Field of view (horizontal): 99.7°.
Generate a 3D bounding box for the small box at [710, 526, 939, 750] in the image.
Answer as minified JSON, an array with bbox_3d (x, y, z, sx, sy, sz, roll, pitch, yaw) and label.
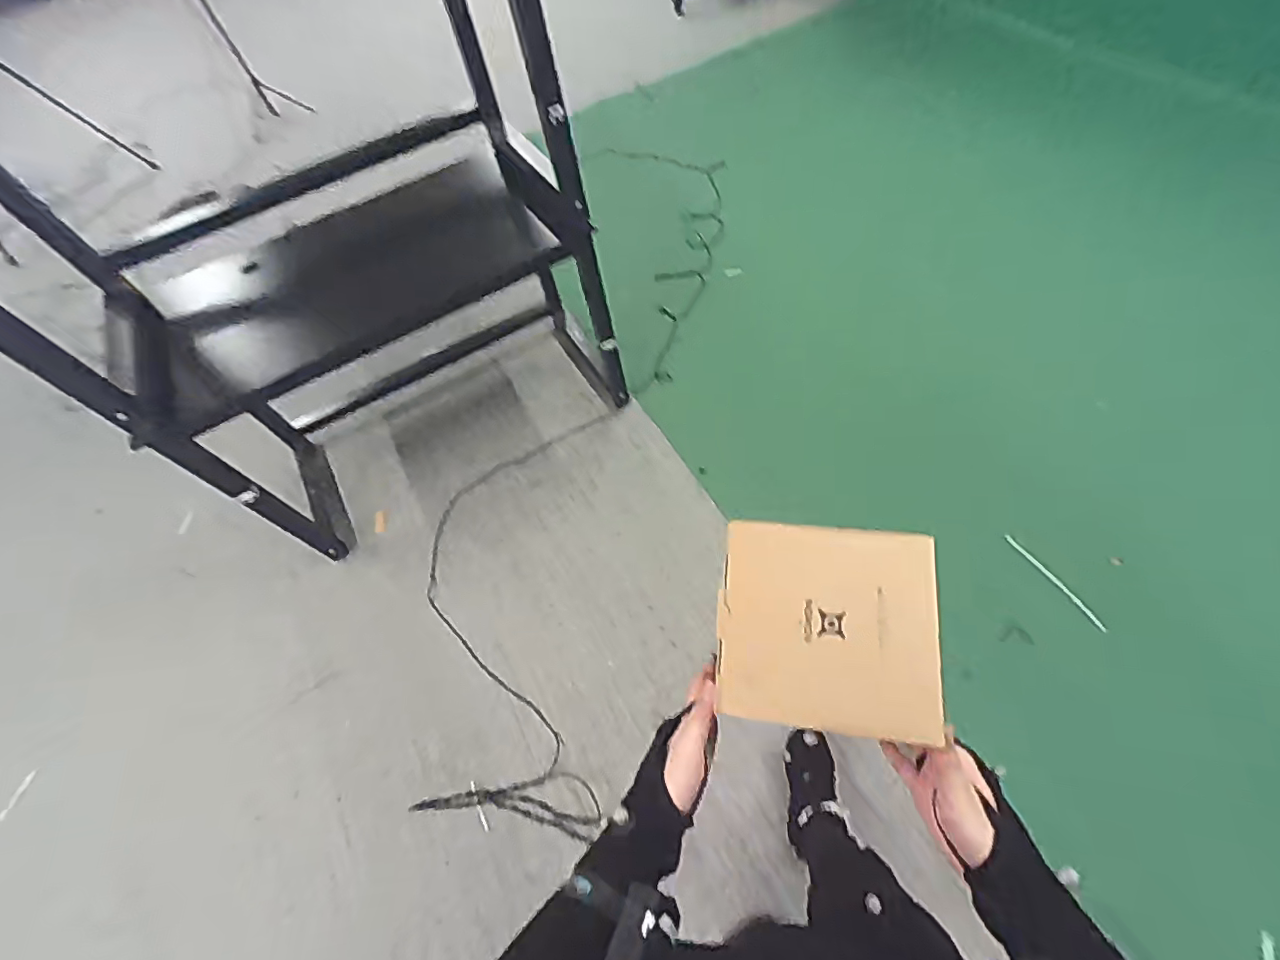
[{"bbox_3d":[0.165,0.151,0.525,0.179,0.176,0.168,4,71,10],"label":"small box"}]
